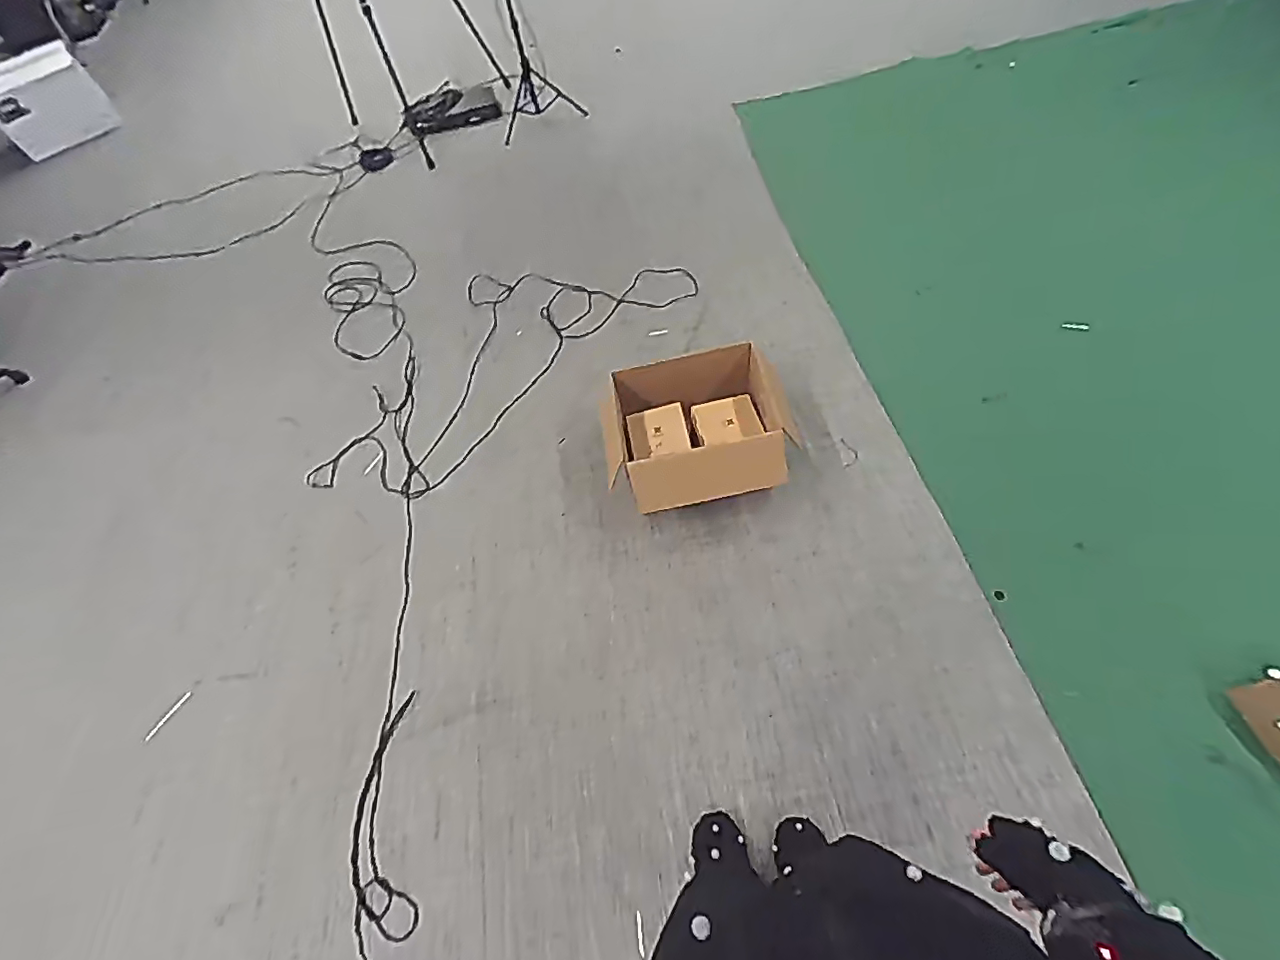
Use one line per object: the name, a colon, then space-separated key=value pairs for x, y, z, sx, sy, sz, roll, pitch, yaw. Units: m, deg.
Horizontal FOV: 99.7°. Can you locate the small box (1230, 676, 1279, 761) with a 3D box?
small box: x=1.392 y=0.482 z=1.091 sx=0.168 sy=0.176 sz=0.179 roll=-15 pitch=58 yaw=0
